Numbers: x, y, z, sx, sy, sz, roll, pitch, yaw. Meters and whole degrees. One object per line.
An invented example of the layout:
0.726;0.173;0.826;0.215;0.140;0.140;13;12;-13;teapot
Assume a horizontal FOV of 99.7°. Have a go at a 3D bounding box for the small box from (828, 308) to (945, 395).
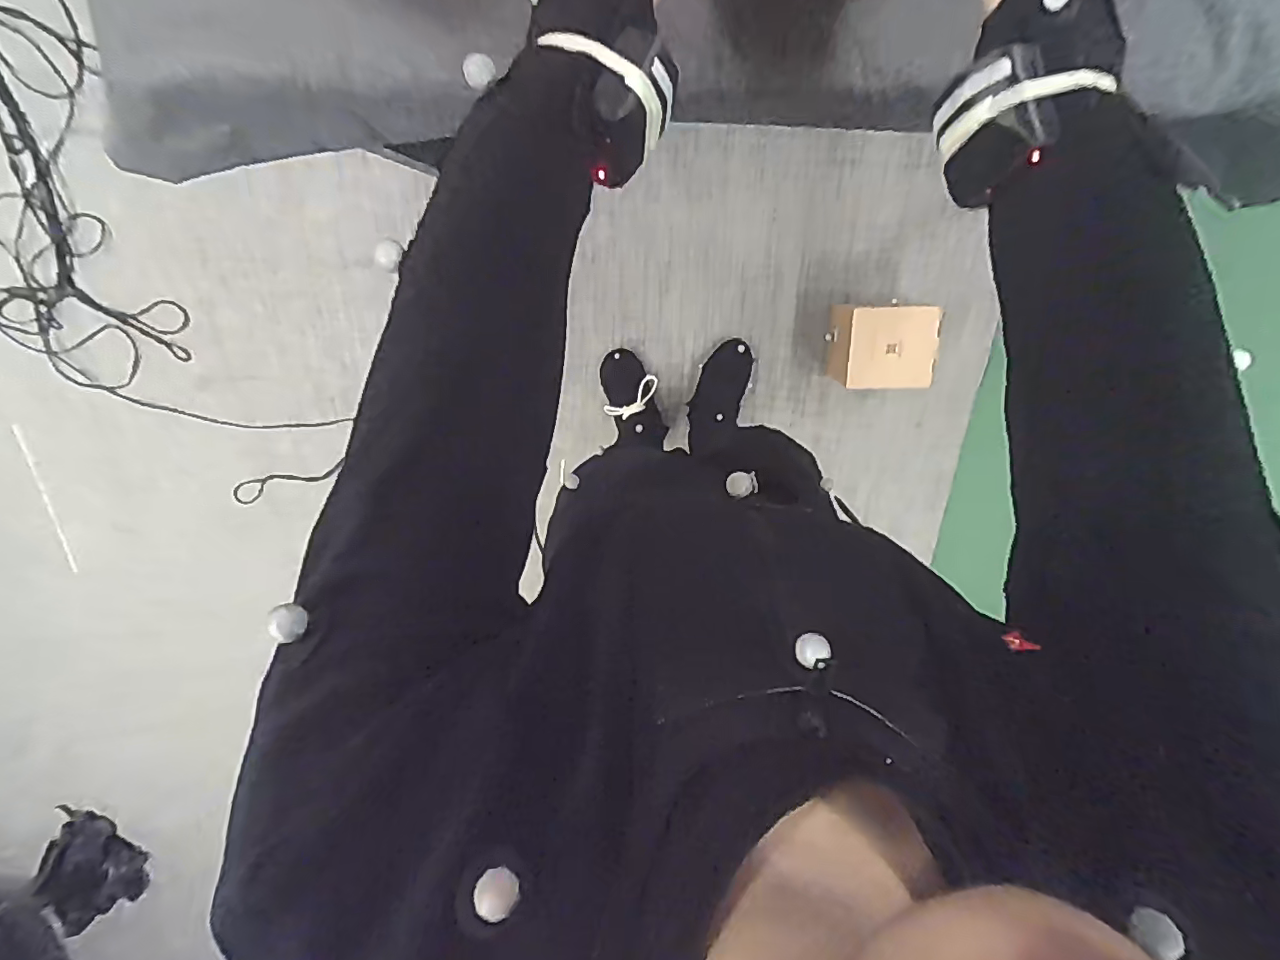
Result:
0.523;-0.282;1.172;0.179;0.176;0.168;-2;108;4;small box
